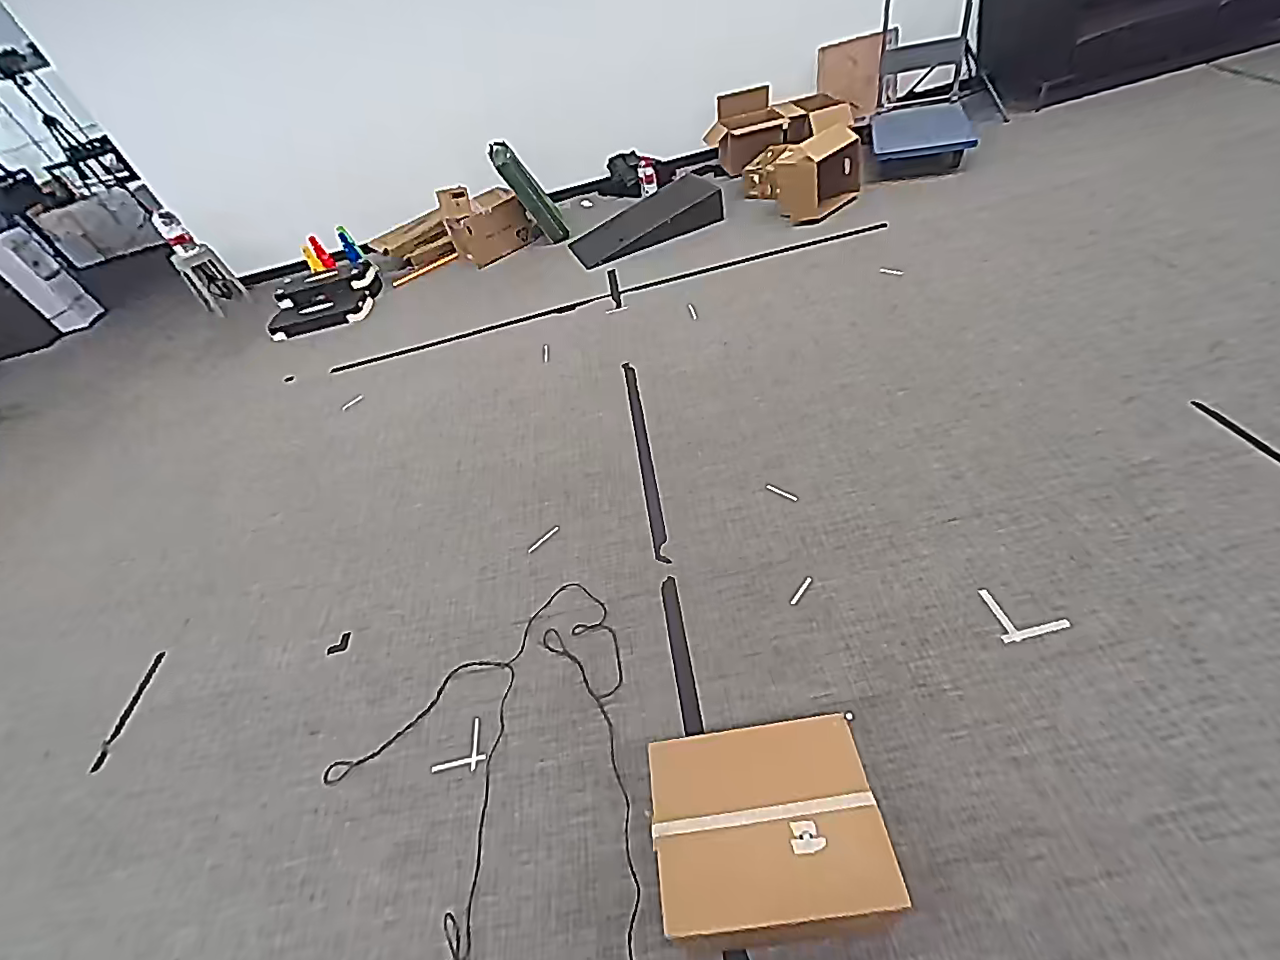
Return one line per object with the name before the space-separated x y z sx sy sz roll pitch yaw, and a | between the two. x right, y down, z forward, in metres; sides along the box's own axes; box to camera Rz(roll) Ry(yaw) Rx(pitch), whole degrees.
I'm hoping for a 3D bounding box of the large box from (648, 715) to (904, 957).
large box | 0.248 0.721 1.094 0.408 0.320 0.320 -11 44 4
